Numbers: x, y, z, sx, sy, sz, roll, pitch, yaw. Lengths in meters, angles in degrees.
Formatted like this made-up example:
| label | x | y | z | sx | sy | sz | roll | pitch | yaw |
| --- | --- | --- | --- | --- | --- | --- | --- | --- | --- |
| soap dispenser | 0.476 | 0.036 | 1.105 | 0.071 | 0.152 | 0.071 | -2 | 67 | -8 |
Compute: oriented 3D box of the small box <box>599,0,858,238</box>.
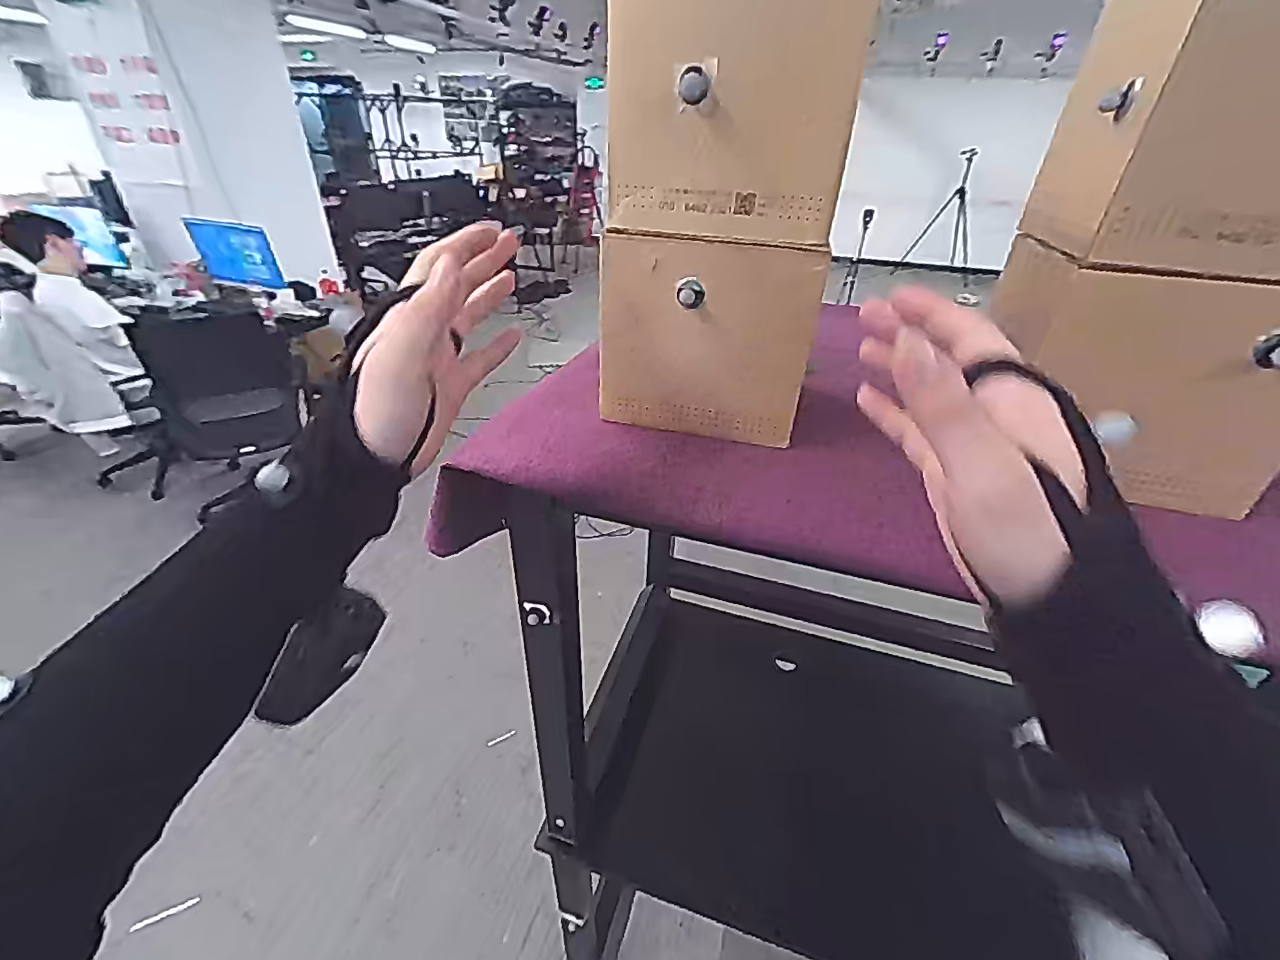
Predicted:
| label | x | y | z | sx | sy | sz | roll | pitch | yaw |
| --- | --- | --- | --- | --- | --- | --- | --- | --- | --- |
| small box | 0.072 | -0.294 | 0.433 | 0.168 | 0.176 | 0.179 | 9 | 32 | 11 |

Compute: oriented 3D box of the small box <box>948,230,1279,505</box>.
| label | x | y | z | sx | sy | sz | roll | pitch | yaw |
| --- | --- | --- | --- | --- | --- | --- | --- | --- | --- |
| small box | 0.385 | -0.098 | 0.444 | 0.179 | 0.176 | 0.168 | 11 | 33 | 15 |

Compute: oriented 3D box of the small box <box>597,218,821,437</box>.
| label | x | y | z | sx | sy | sz | roll | pitch | yaw |
| --- | --- | --- | --- | --- | --- | --- | --- | --- | --- |
| small box | 0.066 | -0.154 | 0.516 | 0.179 | 0.176 | 0.168 | 10 | 33 | 11 |

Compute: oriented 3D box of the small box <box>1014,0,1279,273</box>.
| label | x | y | z | sx | sy | sz | roll | pitch | yaw |
| --- | --- | --- | --- | --- | --- | --- | --- | --- | --- |
| small box | 0.391 | -0.240 | 0.365 | 0.168 | 0.176 | 0.179 | 12 | 33 | 14 |
